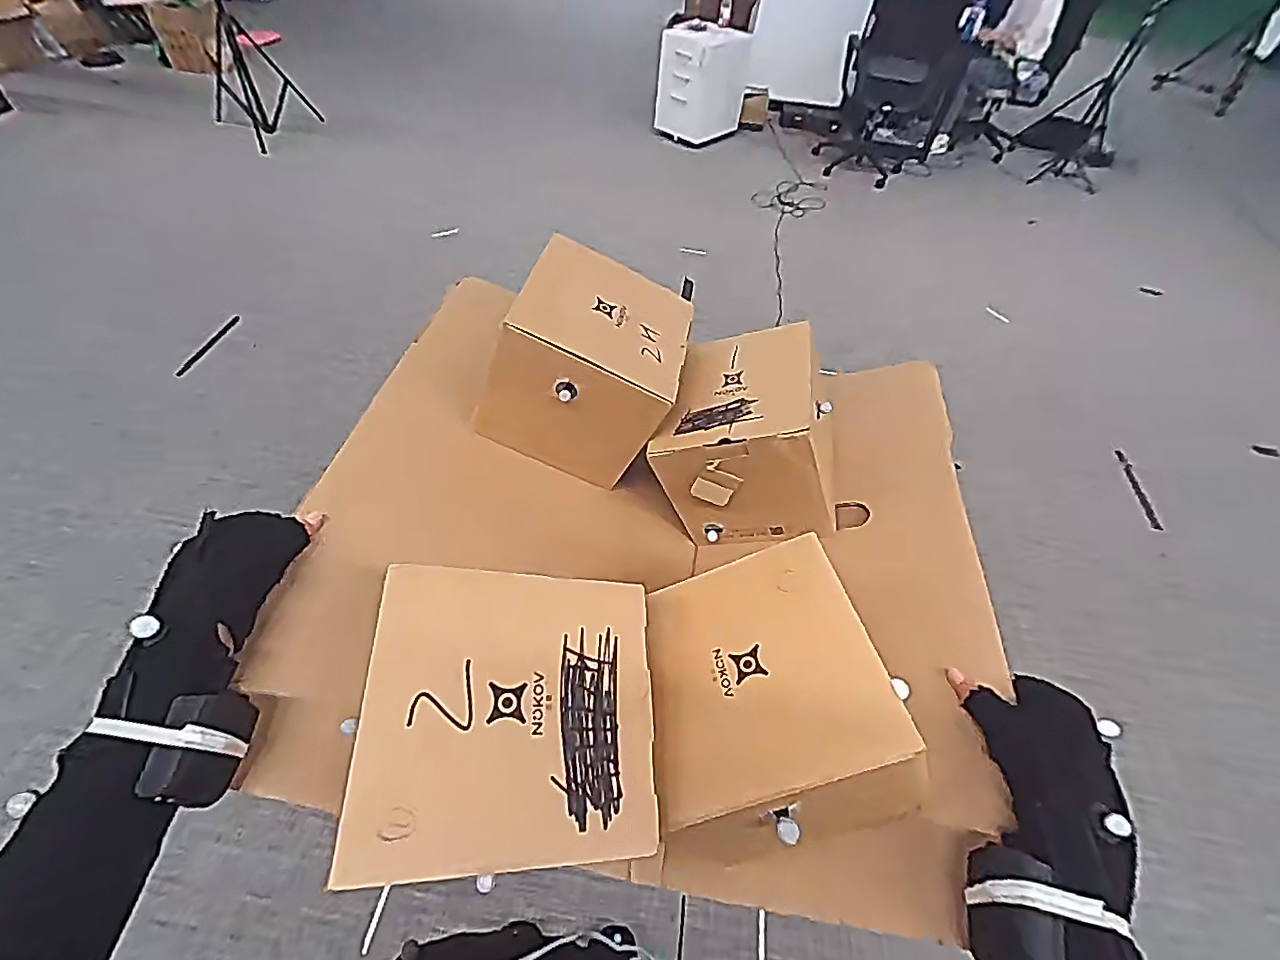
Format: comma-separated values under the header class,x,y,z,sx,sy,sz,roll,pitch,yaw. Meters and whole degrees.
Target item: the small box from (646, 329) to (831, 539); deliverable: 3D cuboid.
class,x,y,z,sx,sy,sz,roll,pitch,yaw
small box,0.126,-0.042,0.632,0.168,0.176,0.179,-6,46,24
